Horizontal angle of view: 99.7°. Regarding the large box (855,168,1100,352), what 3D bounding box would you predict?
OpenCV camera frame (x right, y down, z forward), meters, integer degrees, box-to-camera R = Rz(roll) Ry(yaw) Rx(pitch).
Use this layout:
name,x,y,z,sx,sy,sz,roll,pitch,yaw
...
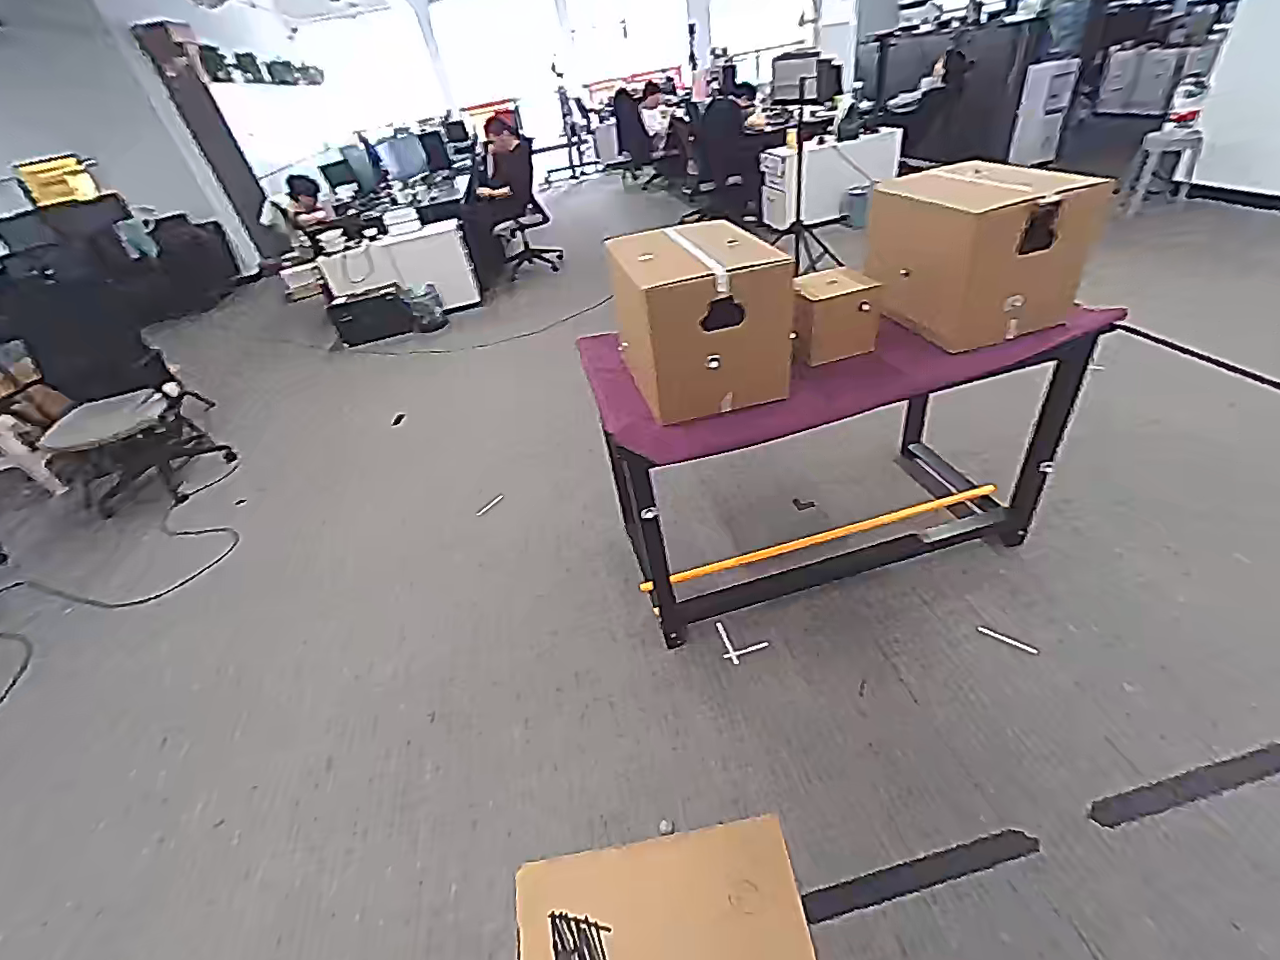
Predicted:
name,x,y,z,sx,sy,sz,roll,pitch,yaw
large box,0.790,-0.559,1.348,0.320,0.320,0.408,-15,36,-6
